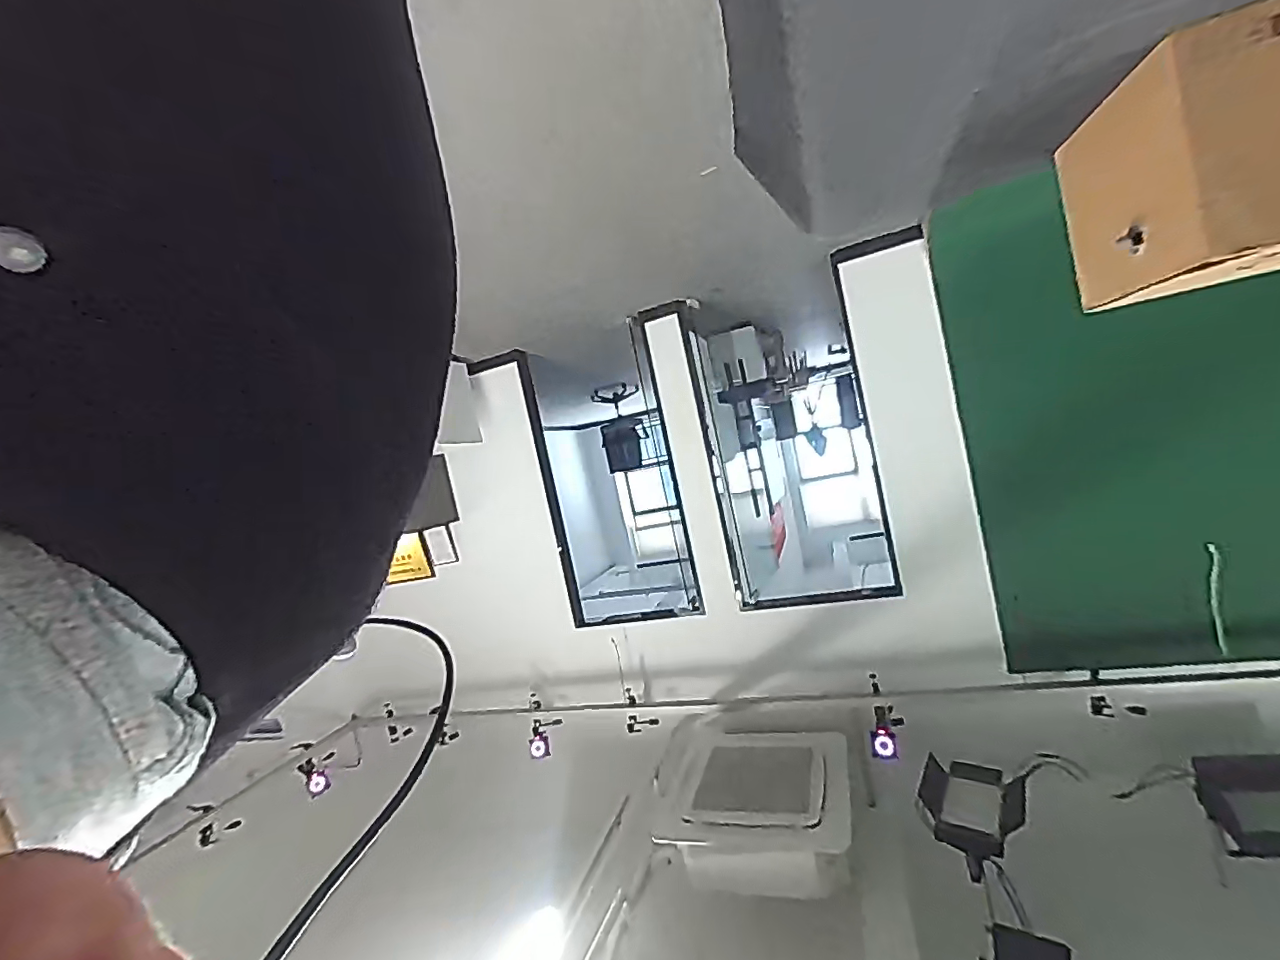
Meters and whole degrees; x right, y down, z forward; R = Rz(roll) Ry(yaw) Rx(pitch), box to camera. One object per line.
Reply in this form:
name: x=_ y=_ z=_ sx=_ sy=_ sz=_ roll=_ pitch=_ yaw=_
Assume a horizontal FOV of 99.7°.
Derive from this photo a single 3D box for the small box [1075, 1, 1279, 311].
small box: x=0.494 y=-0.258 z=0.437 sx=0.168 sy=0.176 sz=0.179 roll=-12 pitch=-177 yaw=16
